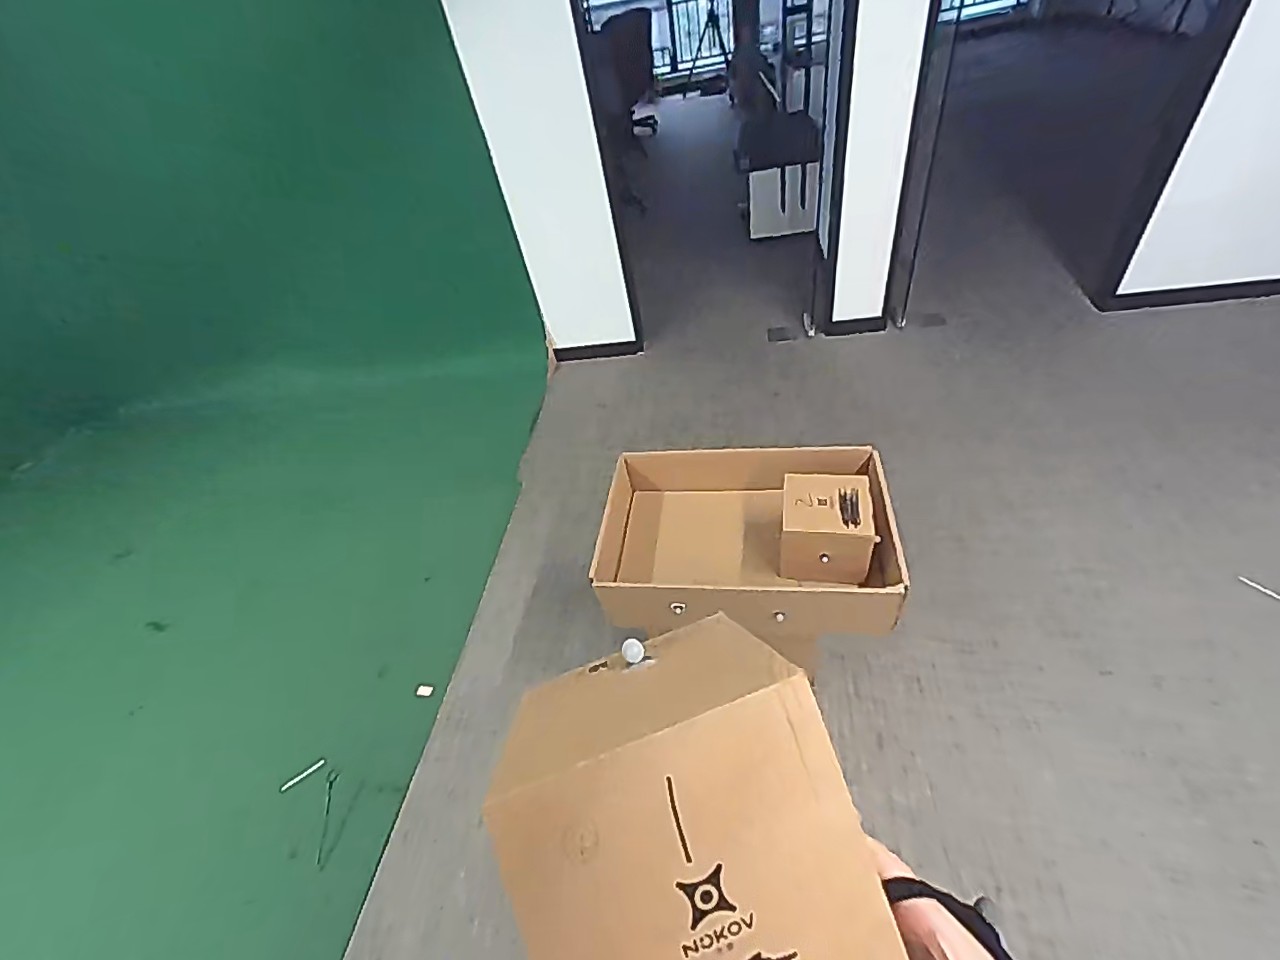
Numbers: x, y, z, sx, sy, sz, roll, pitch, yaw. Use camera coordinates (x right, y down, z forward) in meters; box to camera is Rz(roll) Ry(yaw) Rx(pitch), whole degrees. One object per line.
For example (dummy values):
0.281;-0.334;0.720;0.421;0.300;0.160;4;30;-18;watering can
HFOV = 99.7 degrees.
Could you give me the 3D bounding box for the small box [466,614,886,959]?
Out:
0.016;0.202;0.335;0.168;0.176;0.179;-19;87;-6;small box
